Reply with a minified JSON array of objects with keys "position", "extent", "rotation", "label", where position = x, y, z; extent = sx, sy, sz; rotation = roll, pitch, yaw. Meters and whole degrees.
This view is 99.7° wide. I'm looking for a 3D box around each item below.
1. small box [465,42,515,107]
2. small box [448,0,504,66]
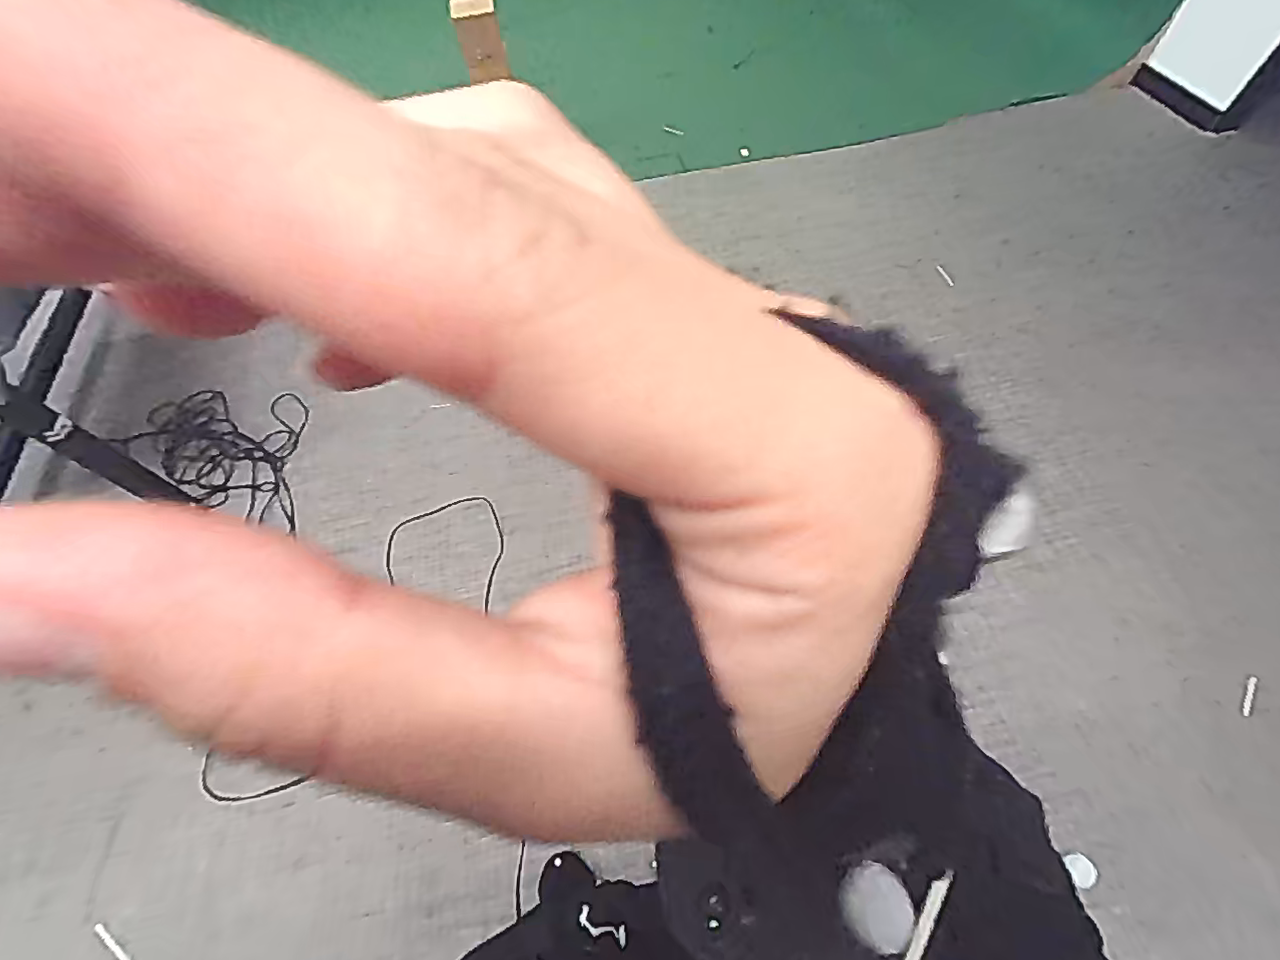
[{"position":[-0.631,-1.702,2.279],"extent":[0.168,0.176,0.179],"rotation":[-11,60,-2],"label":"small box"},{"position":[-0.644,-1.777,2.135],"extent":[0.168,0.176,0.179],"rotation":[-14,61,-3],"label":"small box"}]
